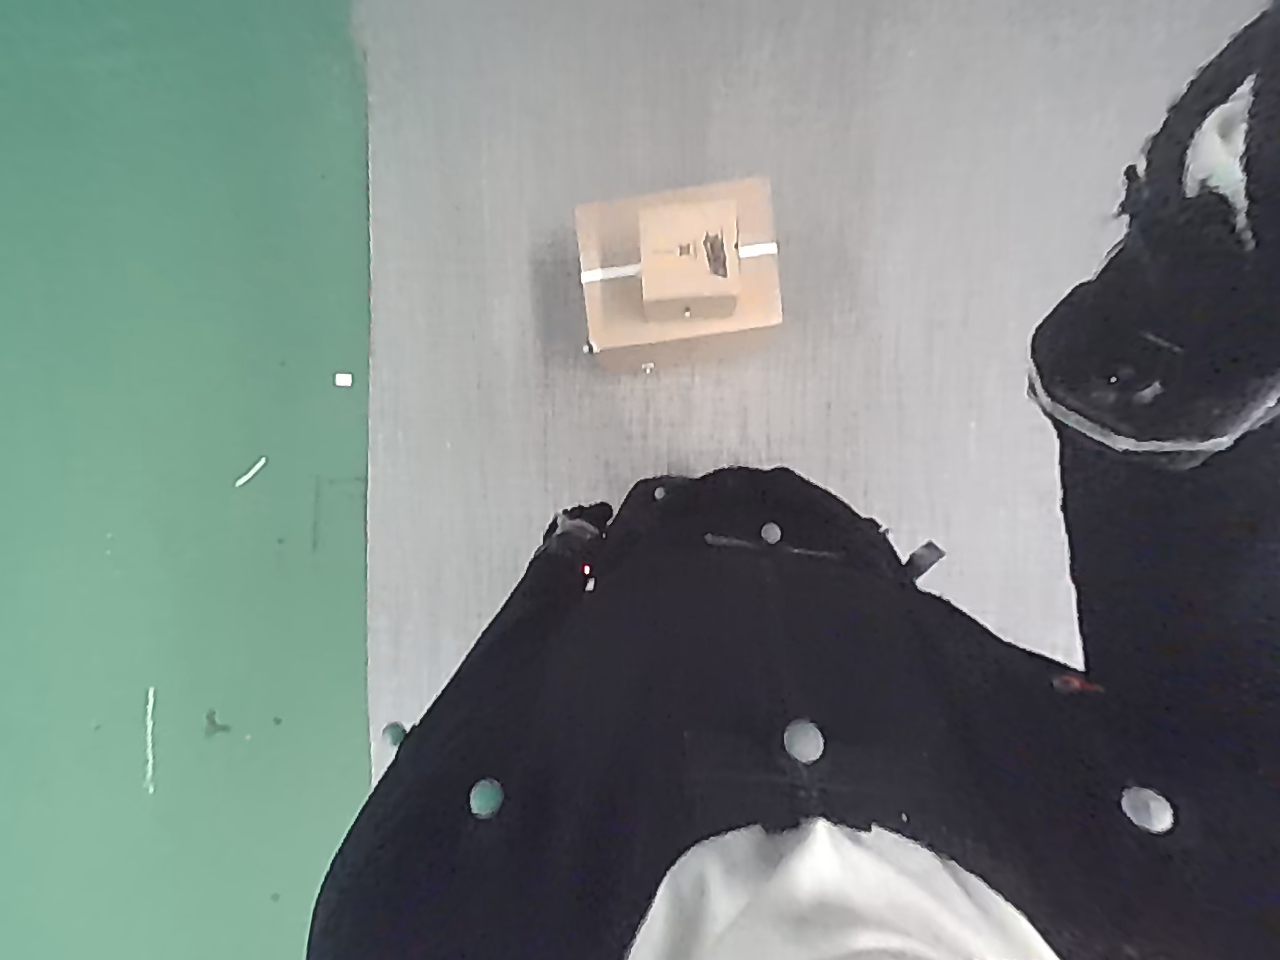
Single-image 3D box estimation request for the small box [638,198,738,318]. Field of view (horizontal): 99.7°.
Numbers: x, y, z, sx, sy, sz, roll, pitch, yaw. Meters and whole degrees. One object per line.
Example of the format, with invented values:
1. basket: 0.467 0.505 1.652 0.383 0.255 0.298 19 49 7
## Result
1. small box: 0.091 -0.418 1.042 0.179 0.176 0.168 -2 92 6
